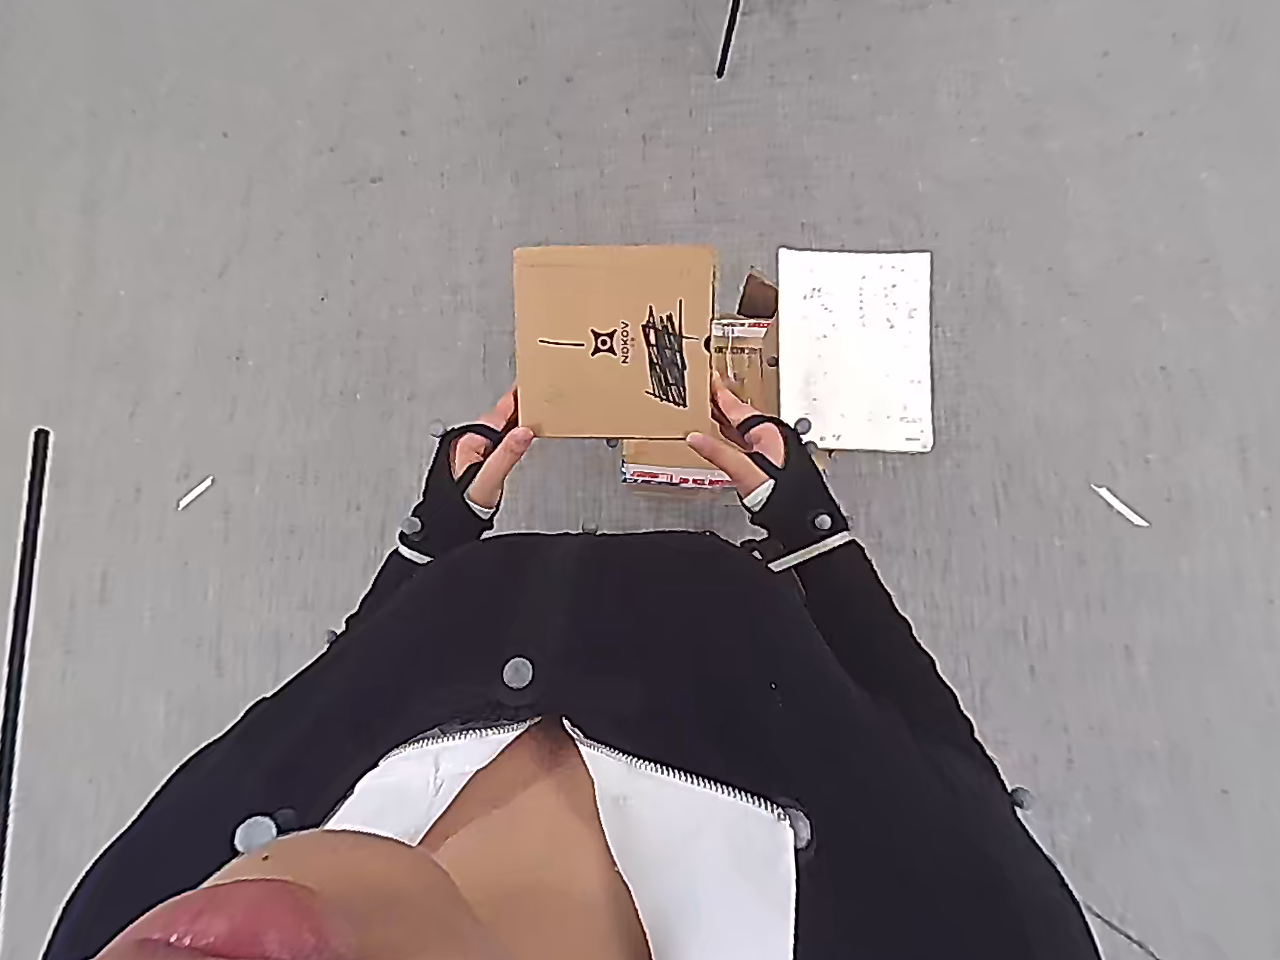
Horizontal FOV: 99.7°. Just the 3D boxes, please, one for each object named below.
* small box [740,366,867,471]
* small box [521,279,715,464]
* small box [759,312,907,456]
[{"bbox_3d":[0.285,-0.109,0.977,0.179,0.176,0.168,-4,84,2],"label":"small box"},{"bbox_3d":[-0.018,-0.111,0.573,0.179,0.176,0.168,1,99,3],"label":"small box"},{"bbox_3d":[0.278,-0.135,0.816,0.168,0.176,0.179,-1,84,1],"label":"small box"}]
